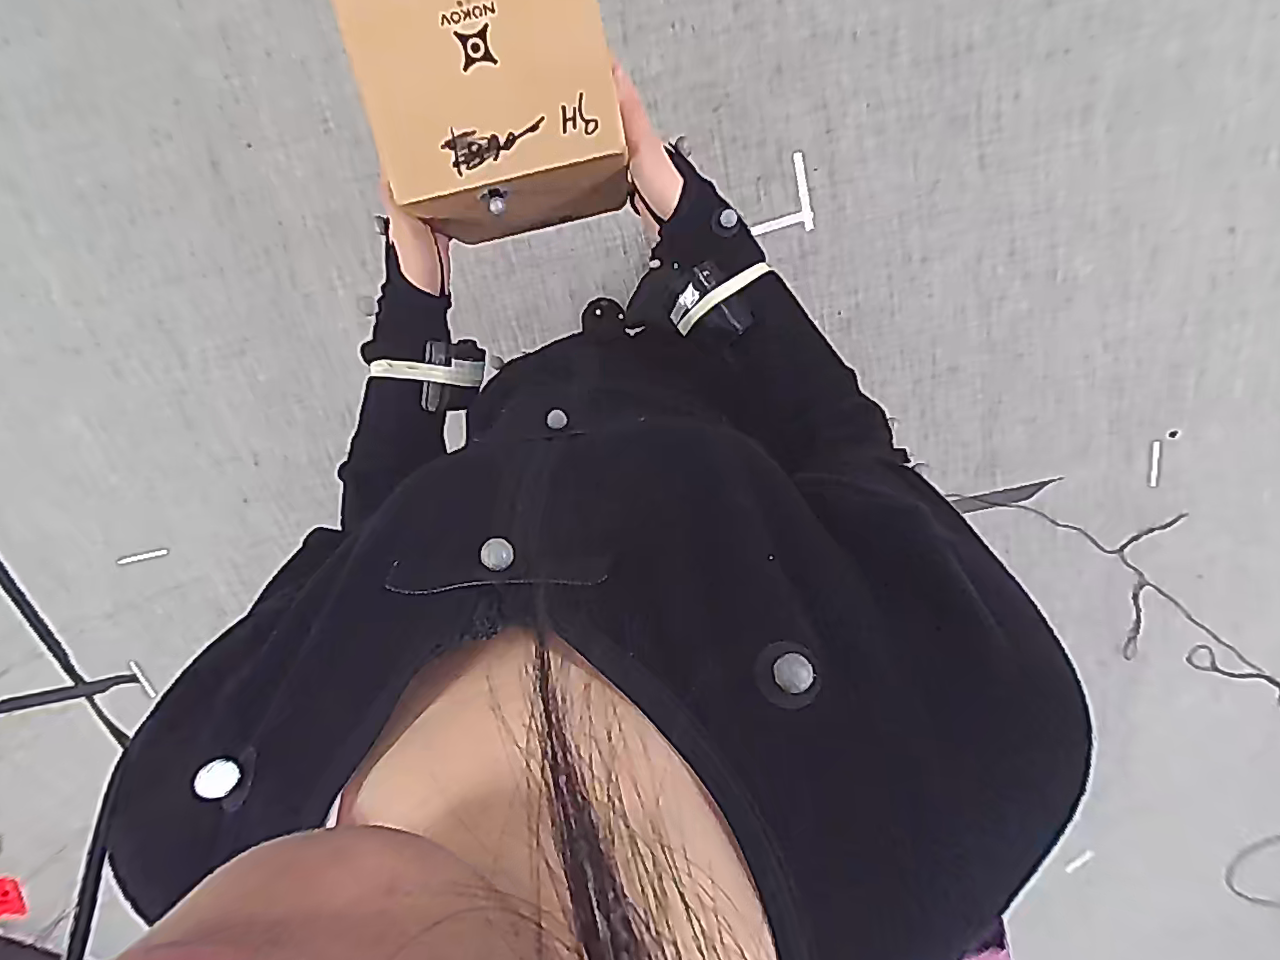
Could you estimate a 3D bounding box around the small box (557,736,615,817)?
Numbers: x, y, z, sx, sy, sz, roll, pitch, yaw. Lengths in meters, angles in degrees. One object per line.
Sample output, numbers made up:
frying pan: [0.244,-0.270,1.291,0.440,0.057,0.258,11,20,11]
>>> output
small box: [-0.175,0.964,1.768,0.179,0.176,0.168,2,108,-4]

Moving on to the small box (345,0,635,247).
small box: [-0.103,-0.305,0.426,0.168,0.176,0.179,-12,104,1]
